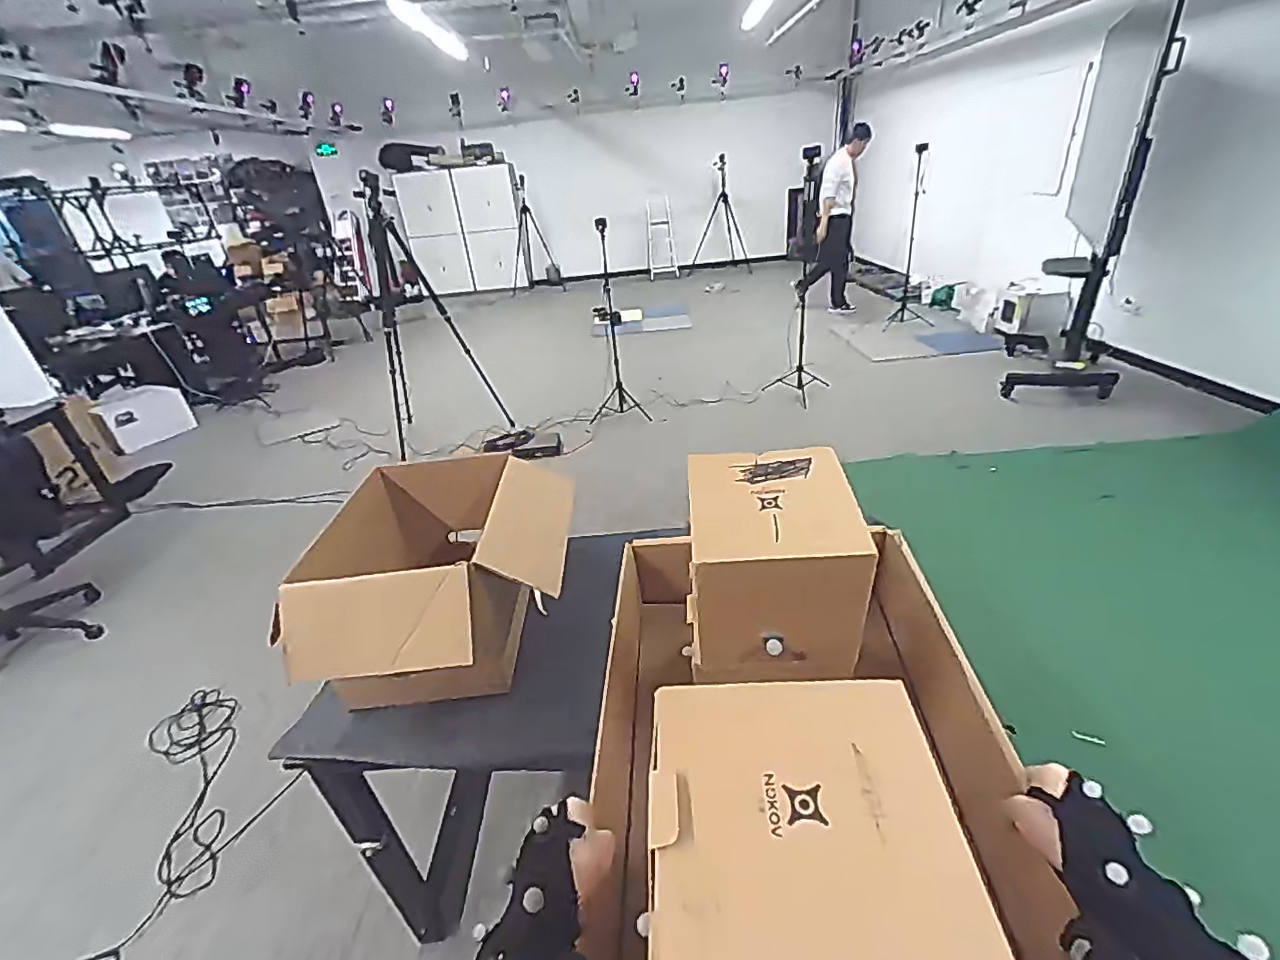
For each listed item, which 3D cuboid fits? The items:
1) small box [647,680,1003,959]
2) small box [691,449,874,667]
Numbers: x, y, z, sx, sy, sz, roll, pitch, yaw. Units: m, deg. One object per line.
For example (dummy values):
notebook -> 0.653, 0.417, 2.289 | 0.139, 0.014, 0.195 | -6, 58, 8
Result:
small box -> 0.102, 0.261, 0.373 | 0.179, 0.176, 0.168 | -3, 36, 5
small box -> 0.142, 0.085, 0.604 | 0.168, 0.176, 0.179 | -4, 38, 6
